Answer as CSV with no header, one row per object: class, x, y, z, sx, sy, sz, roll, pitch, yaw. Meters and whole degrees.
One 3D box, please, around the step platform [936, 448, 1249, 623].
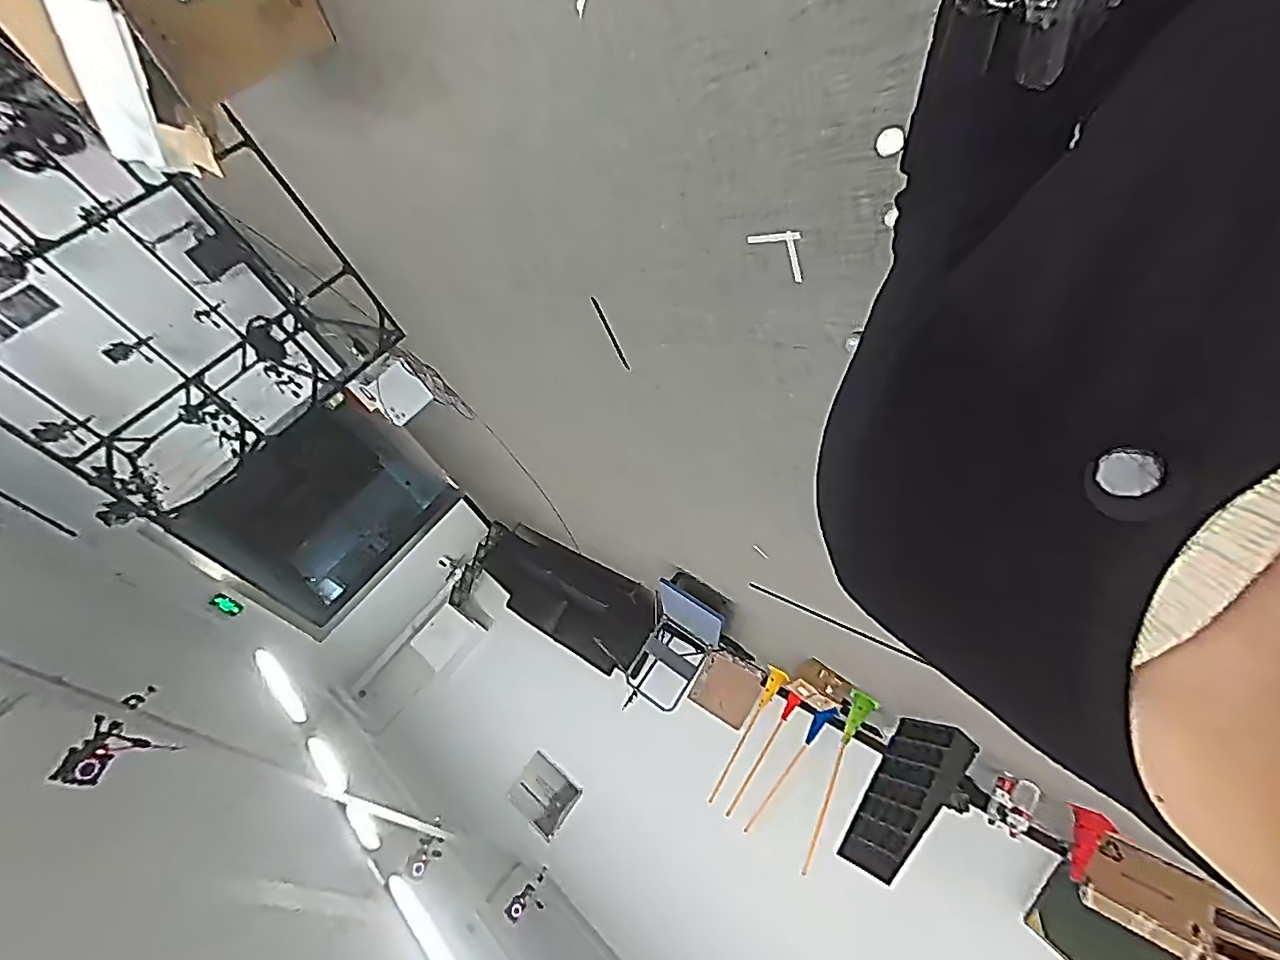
step platform,1.257,0.147,1.585,0.684,0.204,0.286,24,153,36
